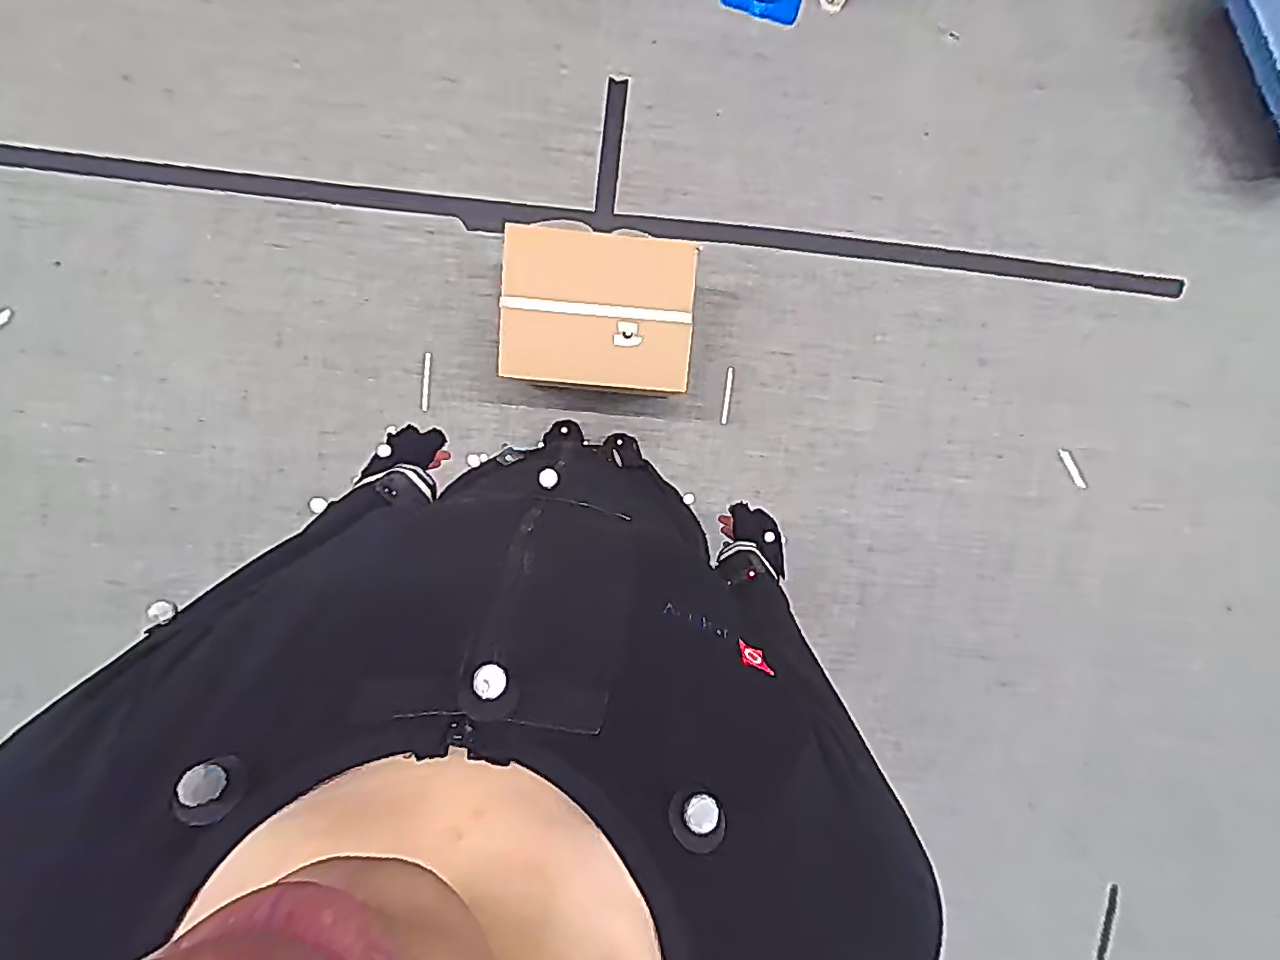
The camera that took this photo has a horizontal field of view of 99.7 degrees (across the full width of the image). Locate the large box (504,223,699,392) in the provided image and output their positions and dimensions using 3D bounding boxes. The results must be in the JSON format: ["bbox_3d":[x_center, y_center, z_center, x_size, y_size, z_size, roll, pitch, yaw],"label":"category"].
[{"bbox_3d":[-0.095,-0.383,1.285,0.408,0.320,0.320,4,97,-5],"label":"large box"}]
